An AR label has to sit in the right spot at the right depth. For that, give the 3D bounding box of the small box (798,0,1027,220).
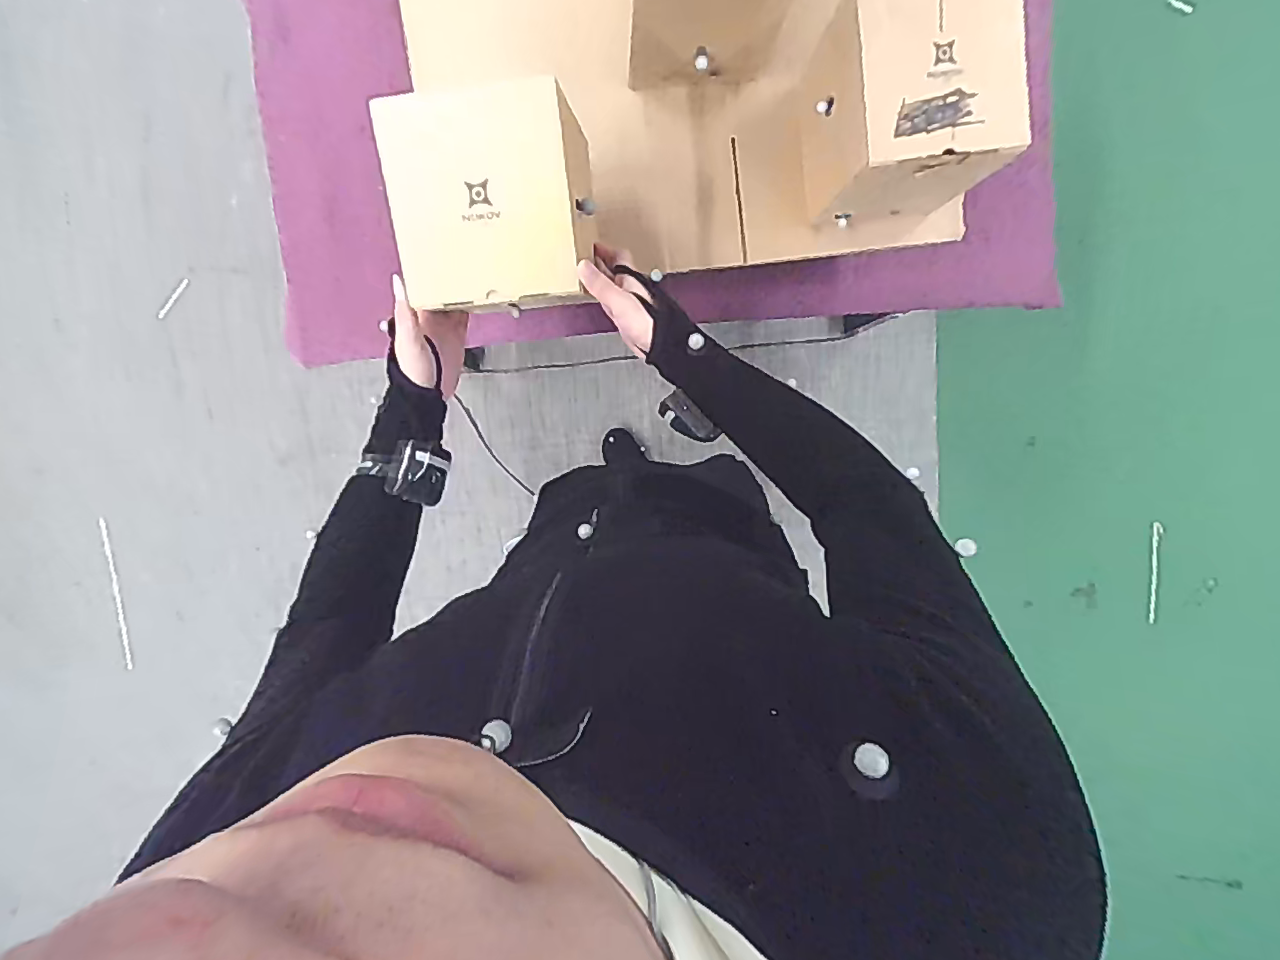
[{"bbox_3d":[0.288,-0.408,0.601,0.168,0.176,0.179,-8,95,-2],"label":"small box"}]

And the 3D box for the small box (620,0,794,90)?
[{"bbox_3d":[0.062,-0.559,0.572,0.168,0.176,0.179,-7,96,-3],"label":"small box"}]
